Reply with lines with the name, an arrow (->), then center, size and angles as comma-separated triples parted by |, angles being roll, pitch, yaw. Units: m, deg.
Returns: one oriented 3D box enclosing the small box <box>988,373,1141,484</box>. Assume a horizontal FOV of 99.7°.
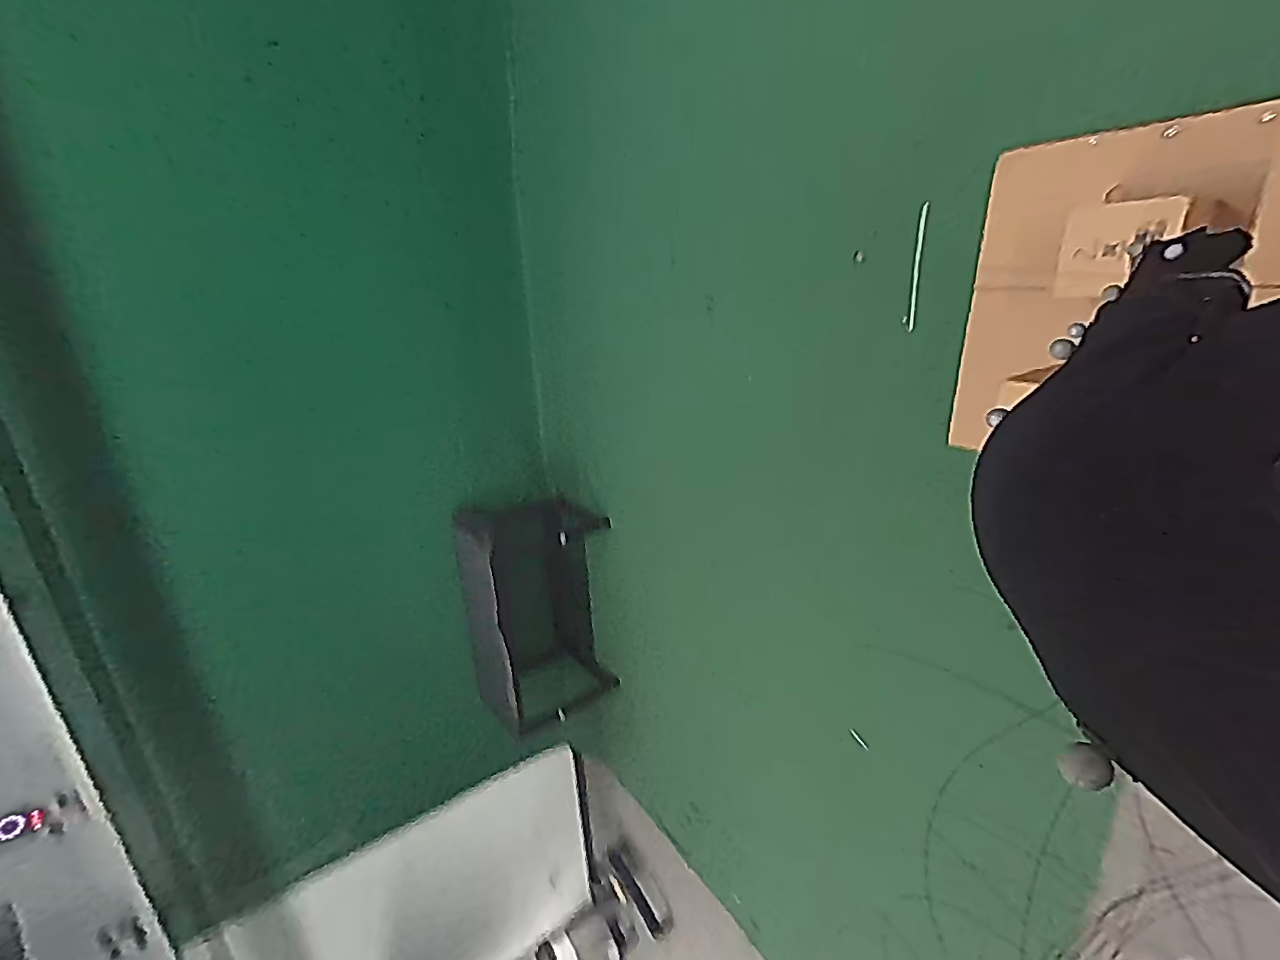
small box -> 0.818, -0.108, 1.045 | 0.179, 0.176, 0.168 | 25, 124, 51
